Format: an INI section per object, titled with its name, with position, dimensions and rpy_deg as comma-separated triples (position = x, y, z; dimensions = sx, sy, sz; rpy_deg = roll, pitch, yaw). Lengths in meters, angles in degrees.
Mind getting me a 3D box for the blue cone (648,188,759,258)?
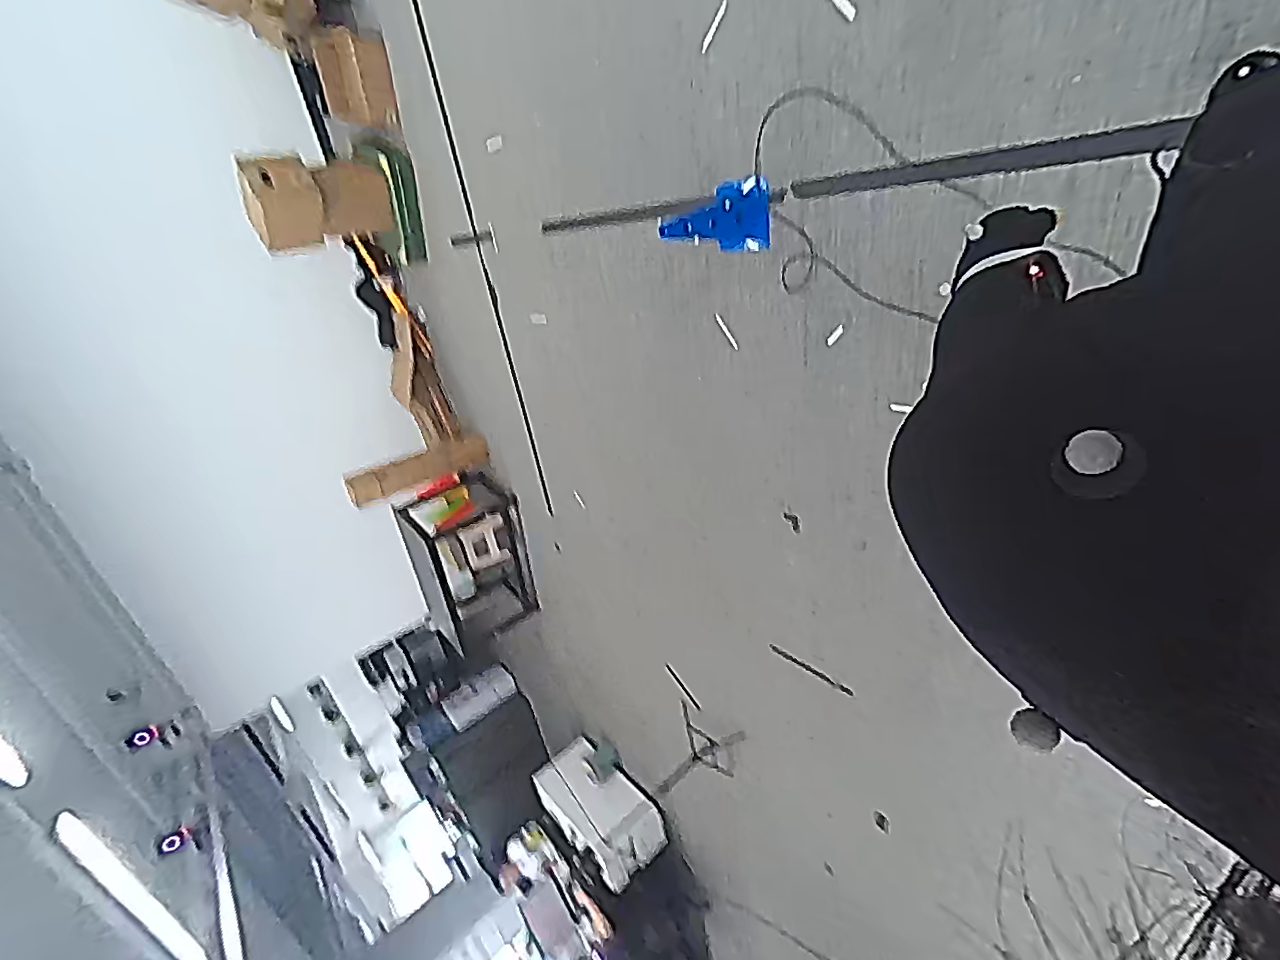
[blue cone]
position = 0.175, -0.736, 1.599
dimensions = 0.192, 0.380, 0.193
rpy_deg = 18, 127, 45
